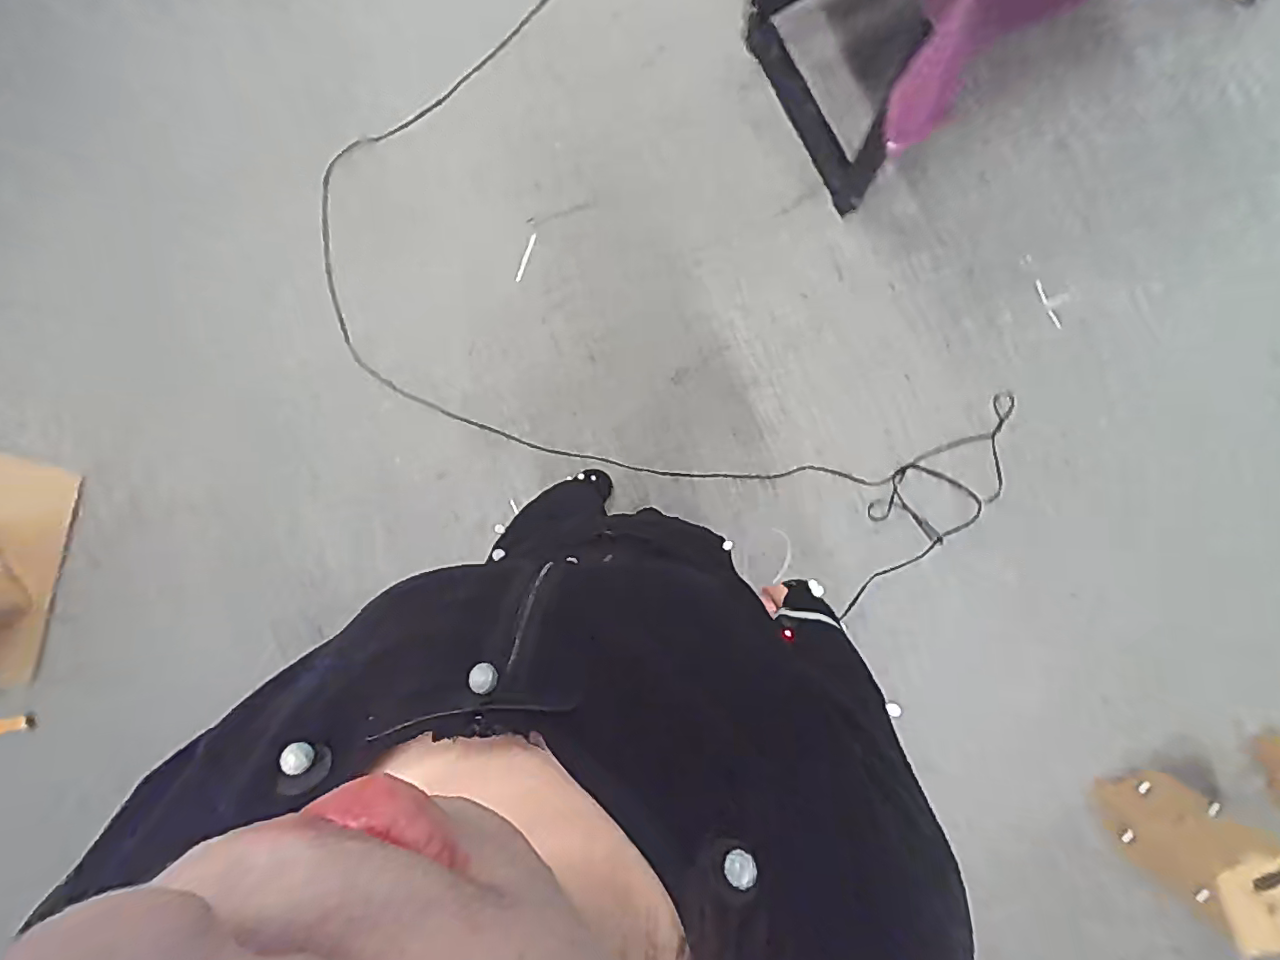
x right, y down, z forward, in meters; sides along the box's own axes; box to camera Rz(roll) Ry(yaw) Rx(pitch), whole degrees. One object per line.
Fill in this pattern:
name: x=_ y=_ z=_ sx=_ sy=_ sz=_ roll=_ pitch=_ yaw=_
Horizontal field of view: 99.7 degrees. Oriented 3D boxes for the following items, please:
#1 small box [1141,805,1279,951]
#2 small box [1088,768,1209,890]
small box: x=1.230 y=0.825 z=1.145 sx=0.168 sy=0.176 sz=0.179 roll=-20 pitch=89 yaw=5
small box: x=1.246 y=0.830 z=1.309 sx=0.168 sy=0.176 sz=0.179 roll=-21 pitch=87 yaw=6
